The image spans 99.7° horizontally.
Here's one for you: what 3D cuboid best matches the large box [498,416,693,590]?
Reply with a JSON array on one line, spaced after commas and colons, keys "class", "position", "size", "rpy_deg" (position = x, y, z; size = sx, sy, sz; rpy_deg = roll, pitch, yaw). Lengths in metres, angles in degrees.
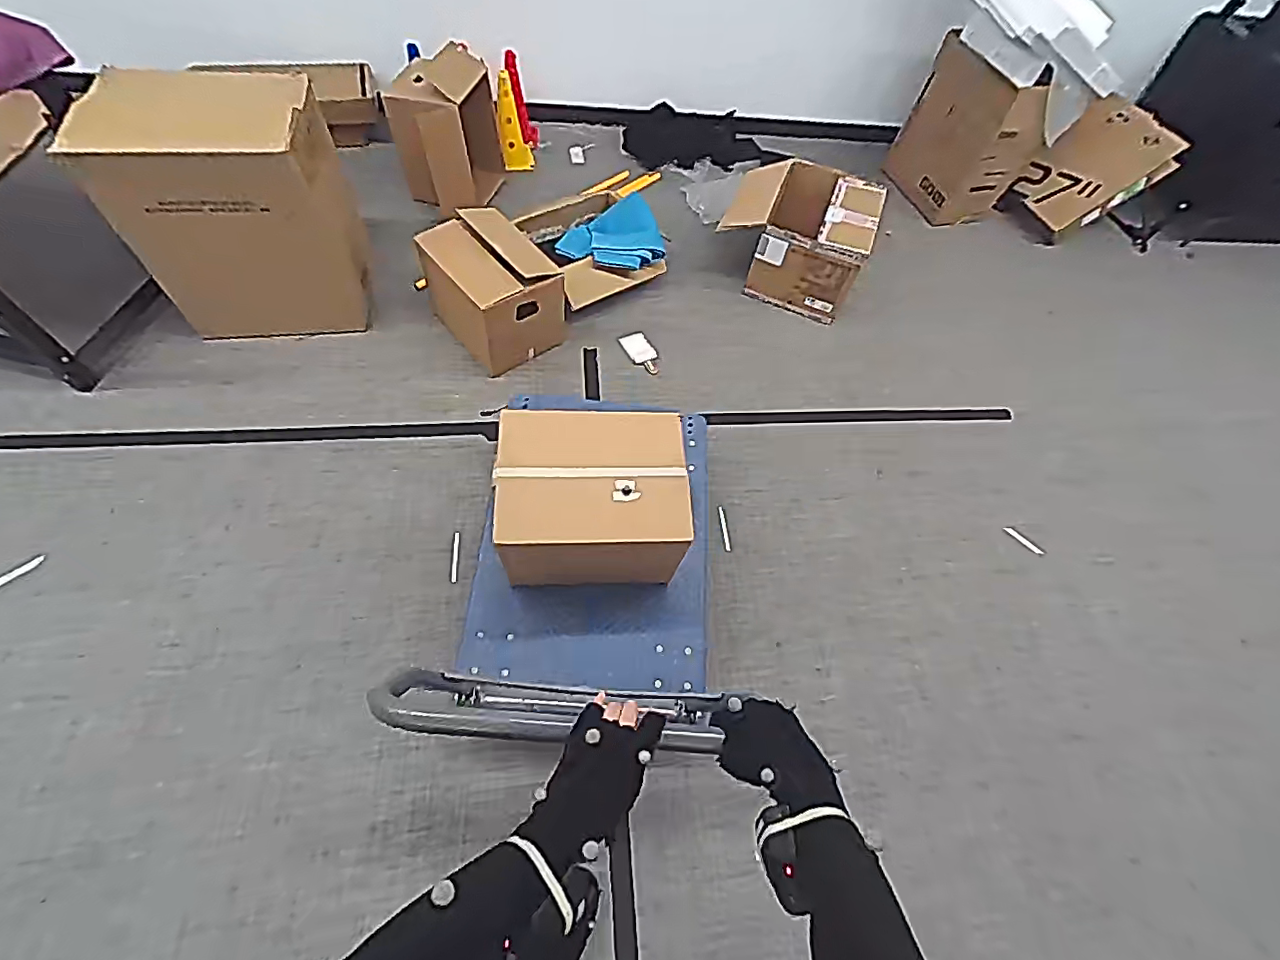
[{"class": "large box", "position": [-0.119, 0.061, 1.286], "size": [0.408, 0.320, 0.320], "rpy_deg": [-1, 64, -9]}]
